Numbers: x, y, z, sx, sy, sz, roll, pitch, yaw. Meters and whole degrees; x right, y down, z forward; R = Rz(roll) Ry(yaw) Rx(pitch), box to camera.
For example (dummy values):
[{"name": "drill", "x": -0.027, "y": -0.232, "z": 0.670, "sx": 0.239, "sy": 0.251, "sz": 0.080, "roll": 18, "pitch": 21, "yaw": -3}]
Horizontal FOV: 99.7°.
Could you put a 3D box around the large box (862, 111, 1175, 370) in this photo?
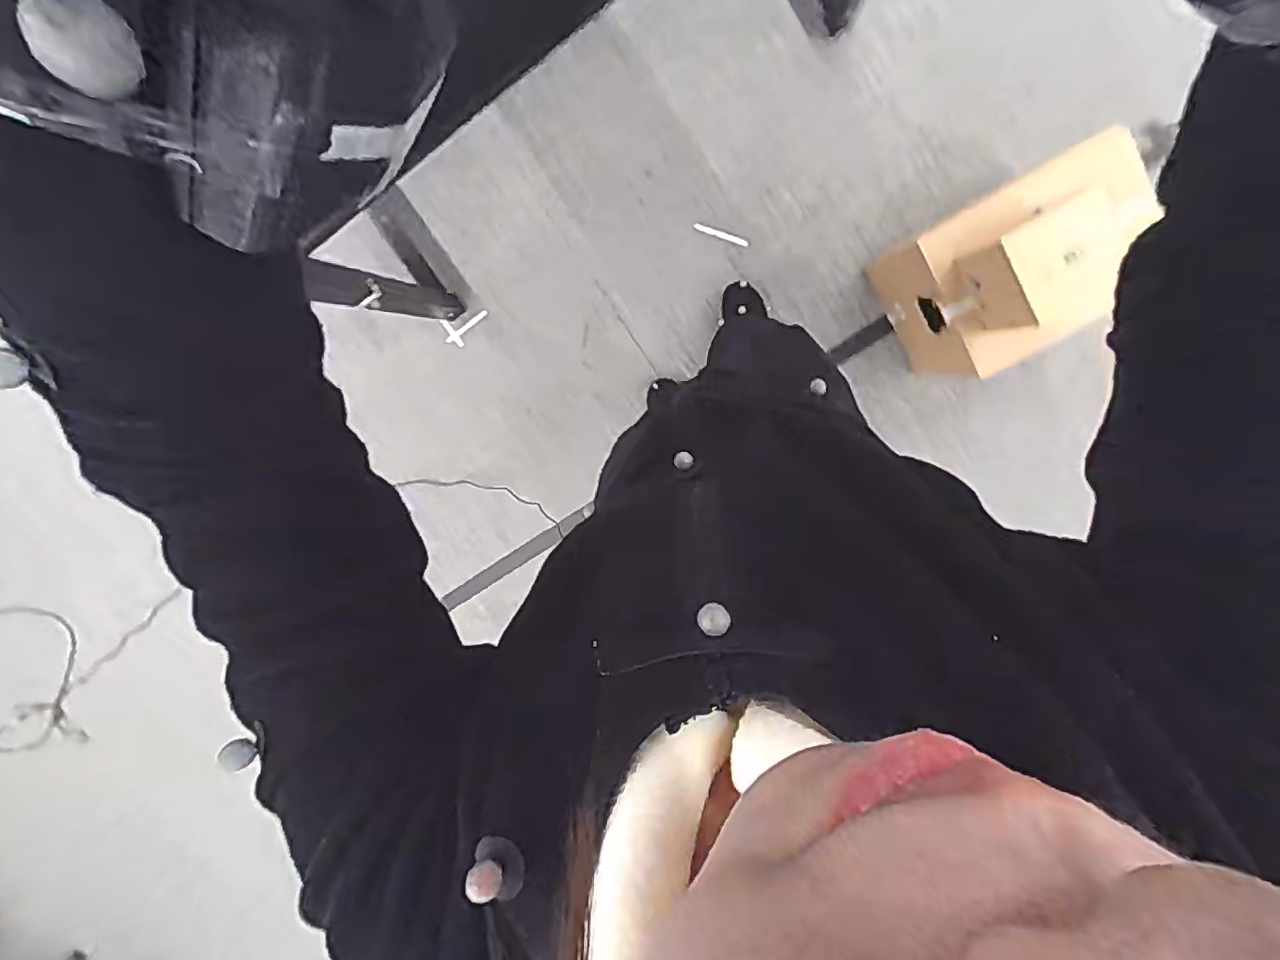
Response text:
[{"name": "large box", "x": 0.779, "y": -0.476, "z": 1.179, "sx": 0.408, "sy": 0.320, "sz": 0.320, "roll": -30, "pitch": 100, "yaw": 9}]

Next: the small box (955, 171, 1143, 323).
[{"name": "small box", "x": 0.702, "y": -0.395, "z": 0.950, "sx": 0.179, "sy": 0.176, "sz": 0.168, "roll": -30, "pitch": 98, "yaw": 10}]
